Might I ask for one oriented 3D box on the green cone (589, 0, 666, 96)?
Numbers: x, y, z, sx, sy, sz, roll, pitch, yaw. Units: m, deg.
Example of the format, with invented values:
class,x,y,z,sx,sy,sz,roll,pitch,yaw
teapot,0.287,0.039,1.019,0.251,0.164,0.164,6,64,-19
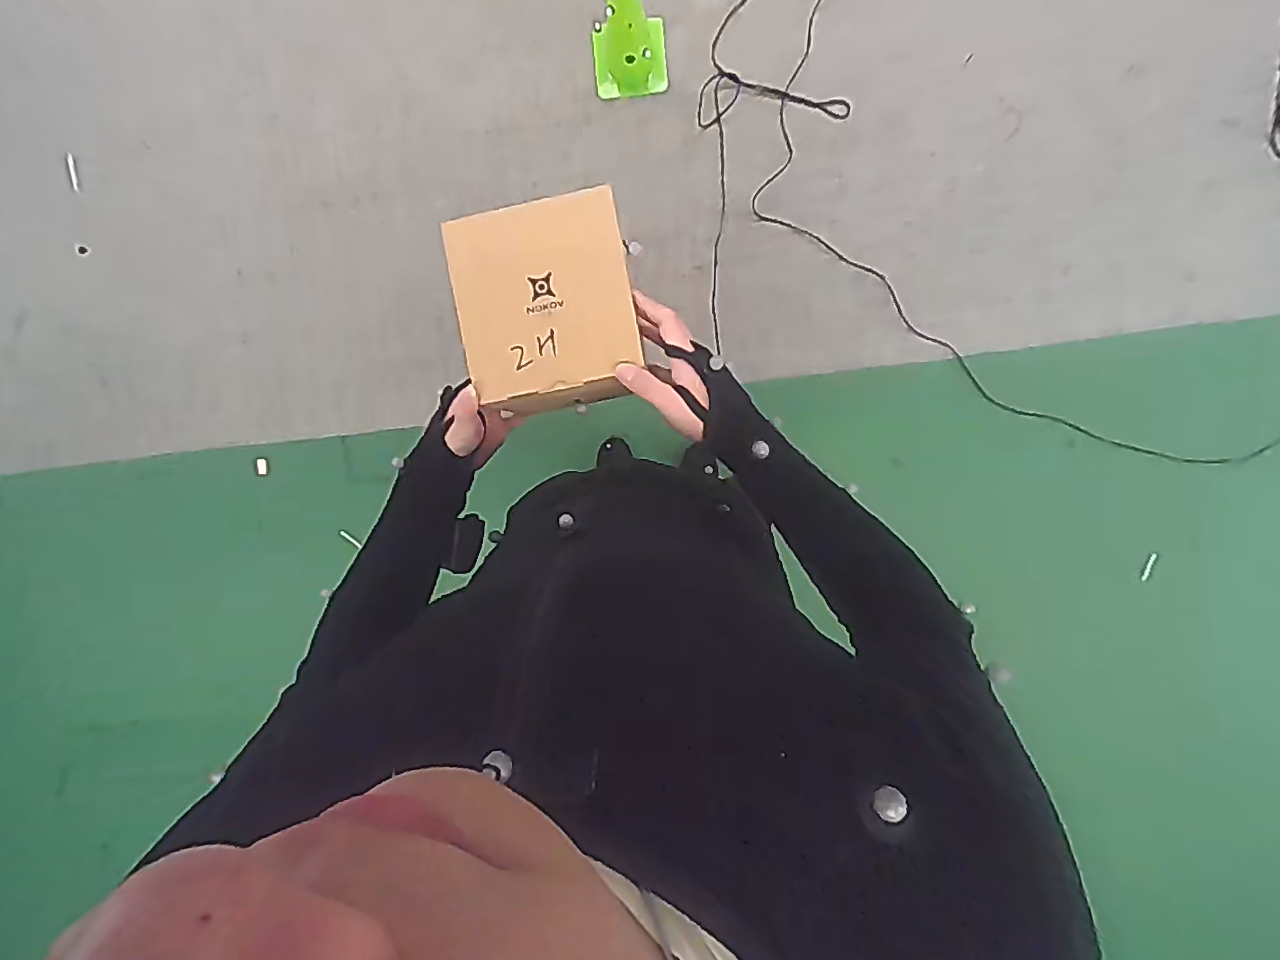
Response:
class,x,y,z,sx,sy,sz,roll,pitch,yaw
green cone,-0.040,-1.161,1.328,0.202,0.368,0.200,-6,95,2
